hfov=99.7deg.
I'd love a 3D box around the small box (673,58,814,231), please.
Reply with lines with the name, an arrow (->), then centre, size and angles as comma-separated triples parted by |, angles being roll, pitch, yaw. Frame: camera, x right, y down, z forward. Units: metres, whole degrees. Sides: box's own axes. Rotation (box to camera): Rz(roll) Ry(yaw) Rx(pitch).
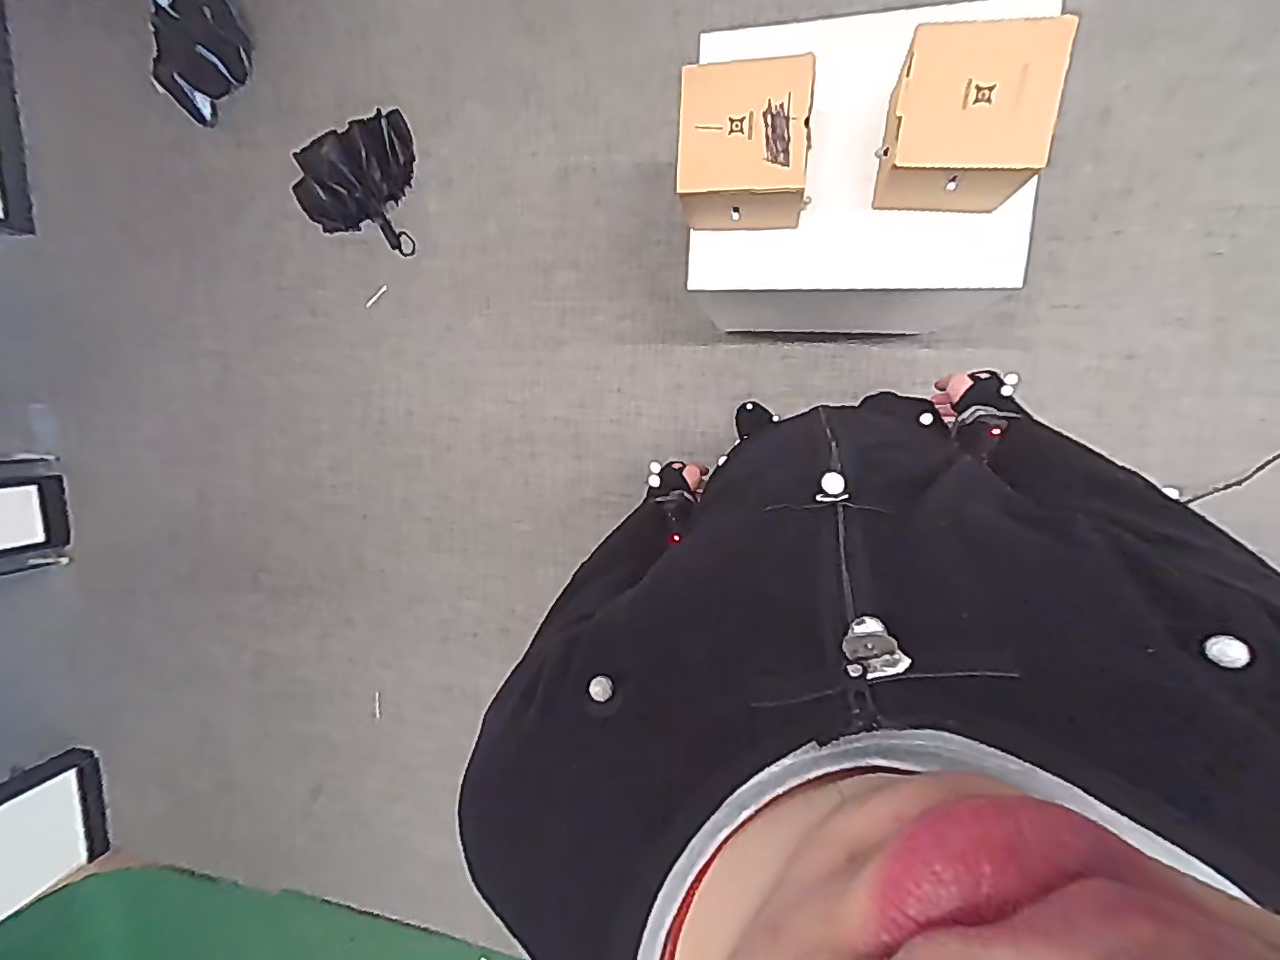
small box -> 0.153, -0.480, 0.800 | 0.179, 0.176, 0.168 | 5, 99, 13

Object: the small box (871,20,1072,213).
small box -> 0.427, -0.476, 0.735 | 0.179, 0.176, 0.168 | 8, 101, 12
